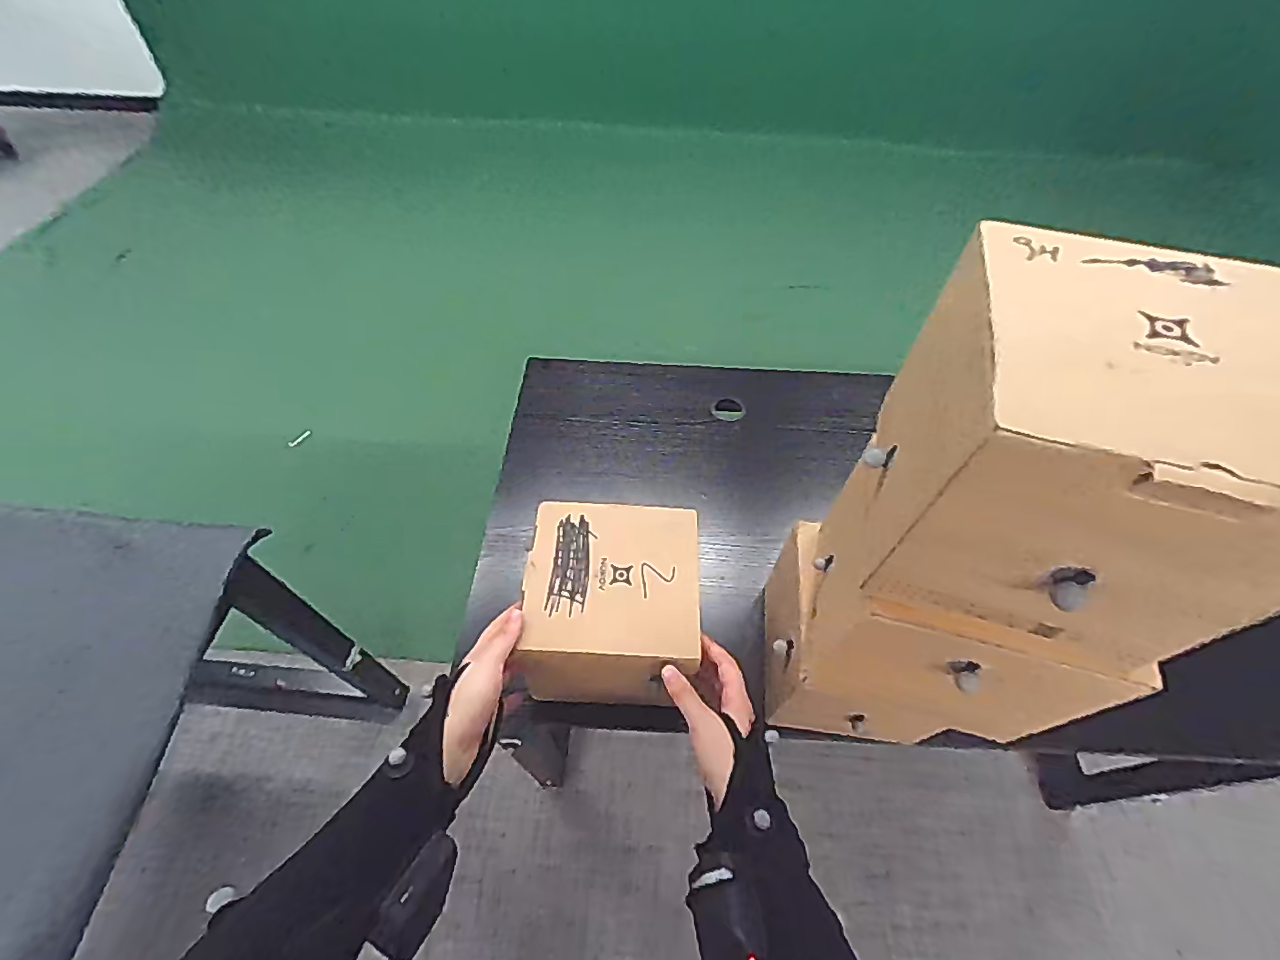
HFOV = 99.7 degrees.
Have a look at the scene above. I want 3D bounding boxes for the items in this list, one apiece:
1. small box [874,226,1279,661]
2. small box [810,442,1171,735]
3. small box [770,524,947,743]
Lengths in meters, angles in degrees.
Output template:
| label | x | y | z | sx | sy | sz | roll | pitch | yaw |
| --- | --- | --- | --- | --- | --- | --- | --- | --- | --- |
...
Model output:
| label | x | y | z | sx | sy | sz | roll | pitch | yaw |
| --- | --- | --- | --- | --- | --- | --- | --- | --- | --- |
| small box | 0.253 | -0.016 | 0.321 | 0.168 | 0.176 | 0.179 | 15 | 56 | 11 |
| small box | 0.255 | 0.093 | 0.444 | 0.179 | 0.176 | 0.168 | 13 | 55 | 8 |
| small box | 0.241 | 0.172 | 0.588 | 0.168 | 0.176 | 0.179 | 7 | 54 | 3 |
